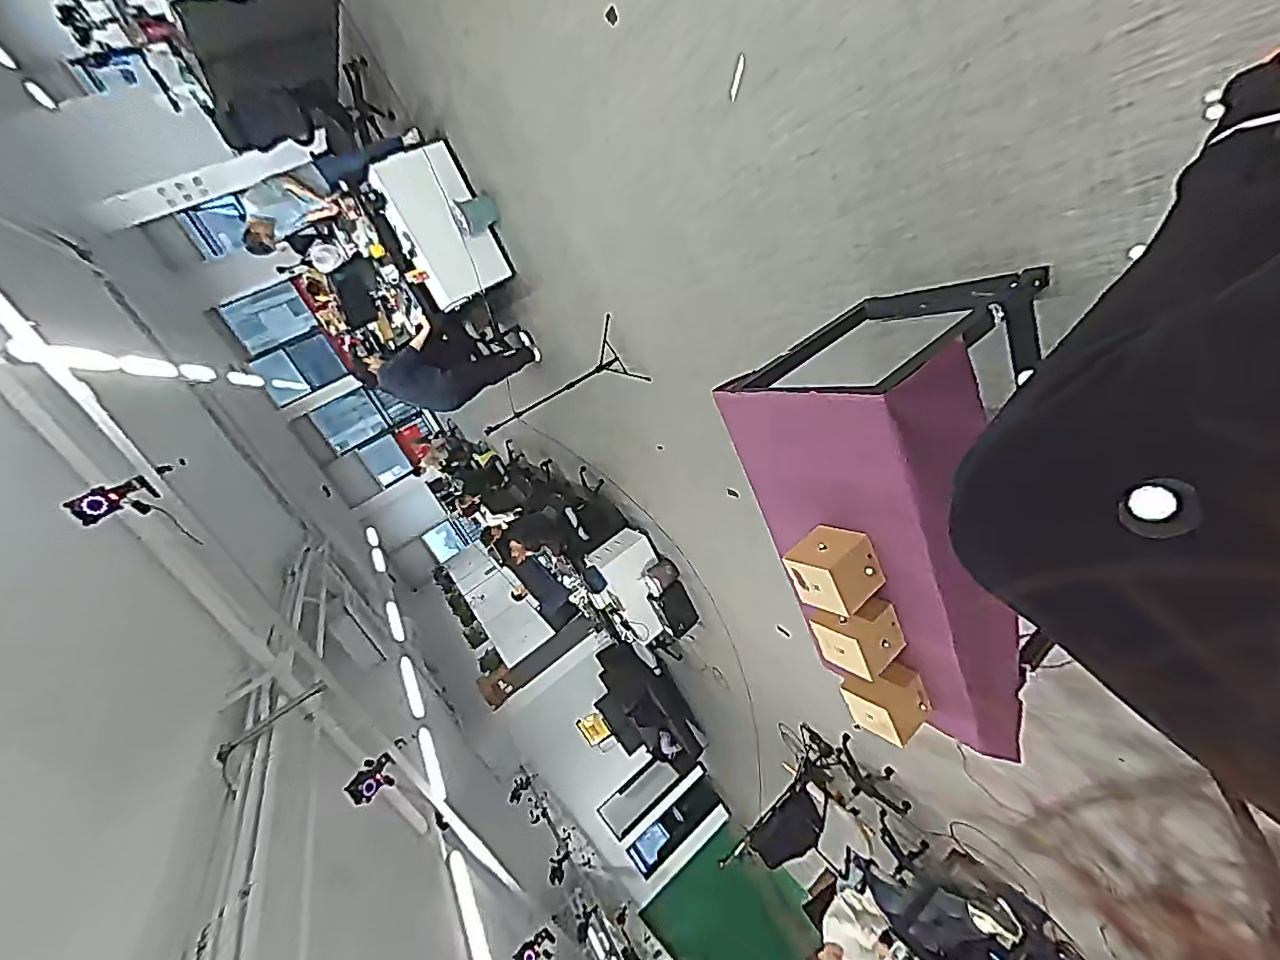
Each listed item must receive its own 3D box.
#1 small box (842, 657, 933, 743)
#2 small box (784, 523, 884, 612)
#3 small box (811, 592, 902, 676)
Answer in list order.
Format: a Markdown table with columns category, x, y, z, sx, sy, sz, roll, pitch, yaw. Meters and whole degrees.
| category | x | y | z | sx | sy | sz | roll | pitch | yaw |
| --- | --- | --- | --- | --- | --- | --- | --- | --- | --- |
| small box | 0.777 | 0.671 | 1.695 | 0.179 | 0.176 | 0.168 | 11 | 133 | 62 |
| small box | 0.549 | 0.239 | 1.527 | 0.179 | 0.176 | 0.168 | 8 | 130 | 62 |
| small box | 0.652 | 0.440 | 1.611 | 0.179 | 0.176 | 0.168 | 14 | 135 | 60 |
